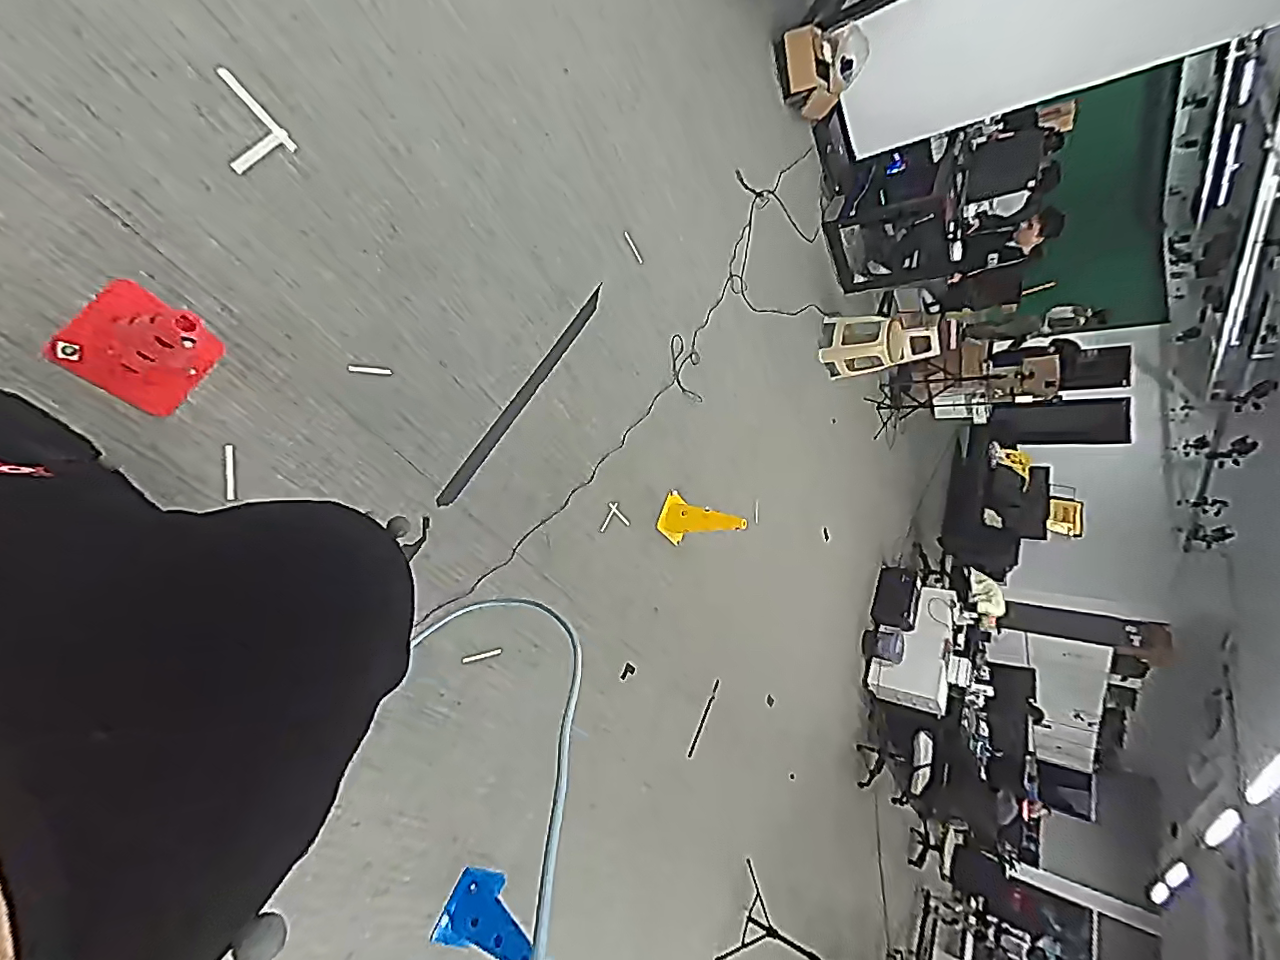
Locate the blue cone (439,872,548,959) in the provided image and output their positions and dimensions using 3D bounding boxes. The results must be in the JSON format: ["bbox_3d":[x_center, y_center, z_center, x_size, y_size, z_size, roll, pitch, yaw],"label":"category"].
[{"bbox_3d":[-0.389,1.329,1.566,0.192,0.380,0.193,54,52,-39],"label":"blue cone"}]

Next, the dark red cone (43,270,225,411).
[{"bbox_3d":[-0.804,-0.252,0.912,0.201,0.394,0.202,45,58,-44],"label":"dark red cone"}]
